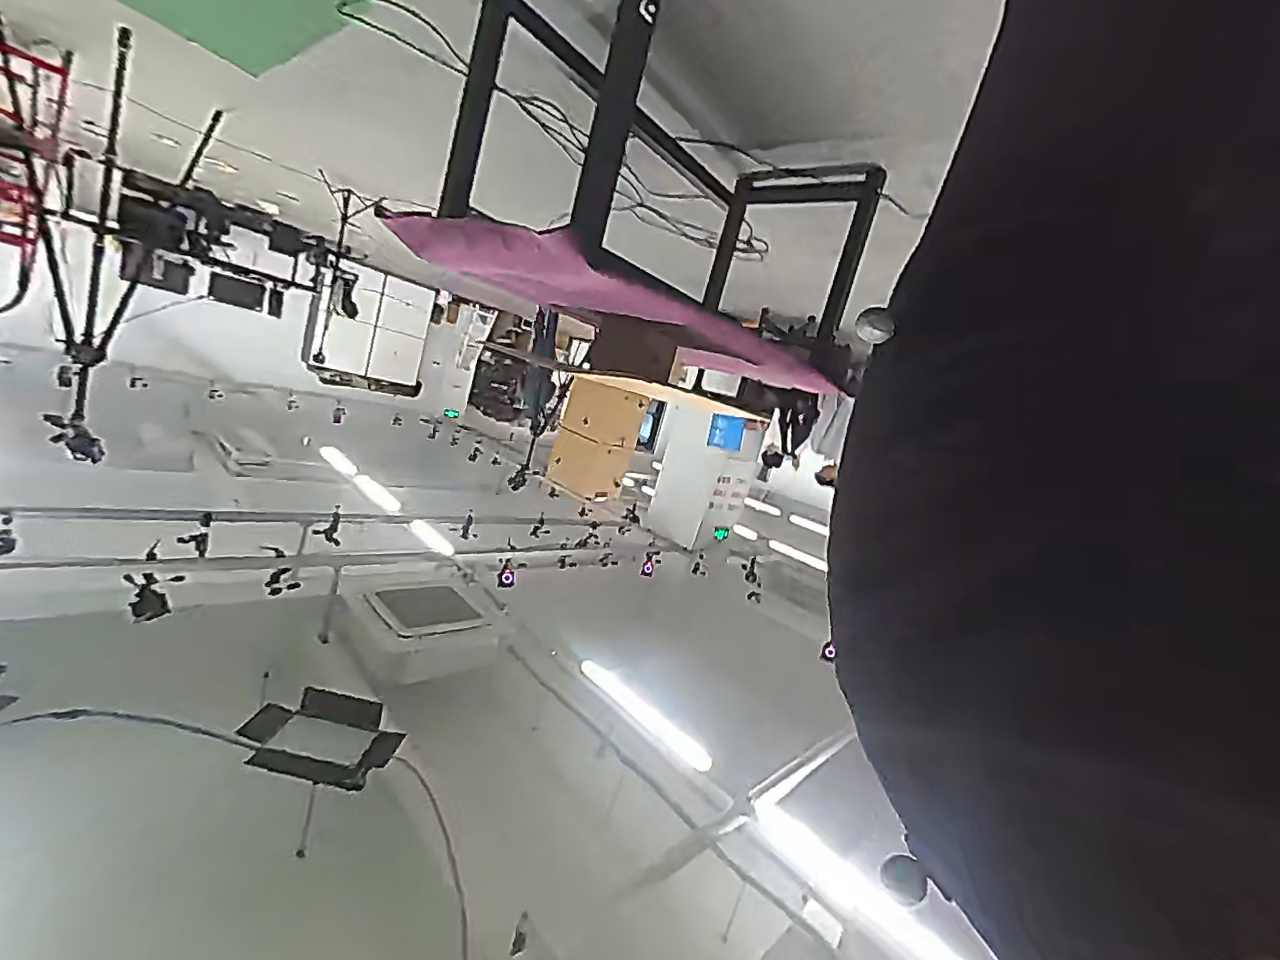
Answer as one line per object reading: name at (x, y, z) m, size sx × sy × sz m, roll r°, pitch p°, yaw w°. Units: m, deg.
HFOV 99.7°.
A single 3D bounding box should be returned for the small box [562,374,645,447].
small box at (-0.105, -0.212, 1.636) m, size 0.179 × 0.176 × 0.168 m, roll 27°, pitch -168°, yaw 37°
